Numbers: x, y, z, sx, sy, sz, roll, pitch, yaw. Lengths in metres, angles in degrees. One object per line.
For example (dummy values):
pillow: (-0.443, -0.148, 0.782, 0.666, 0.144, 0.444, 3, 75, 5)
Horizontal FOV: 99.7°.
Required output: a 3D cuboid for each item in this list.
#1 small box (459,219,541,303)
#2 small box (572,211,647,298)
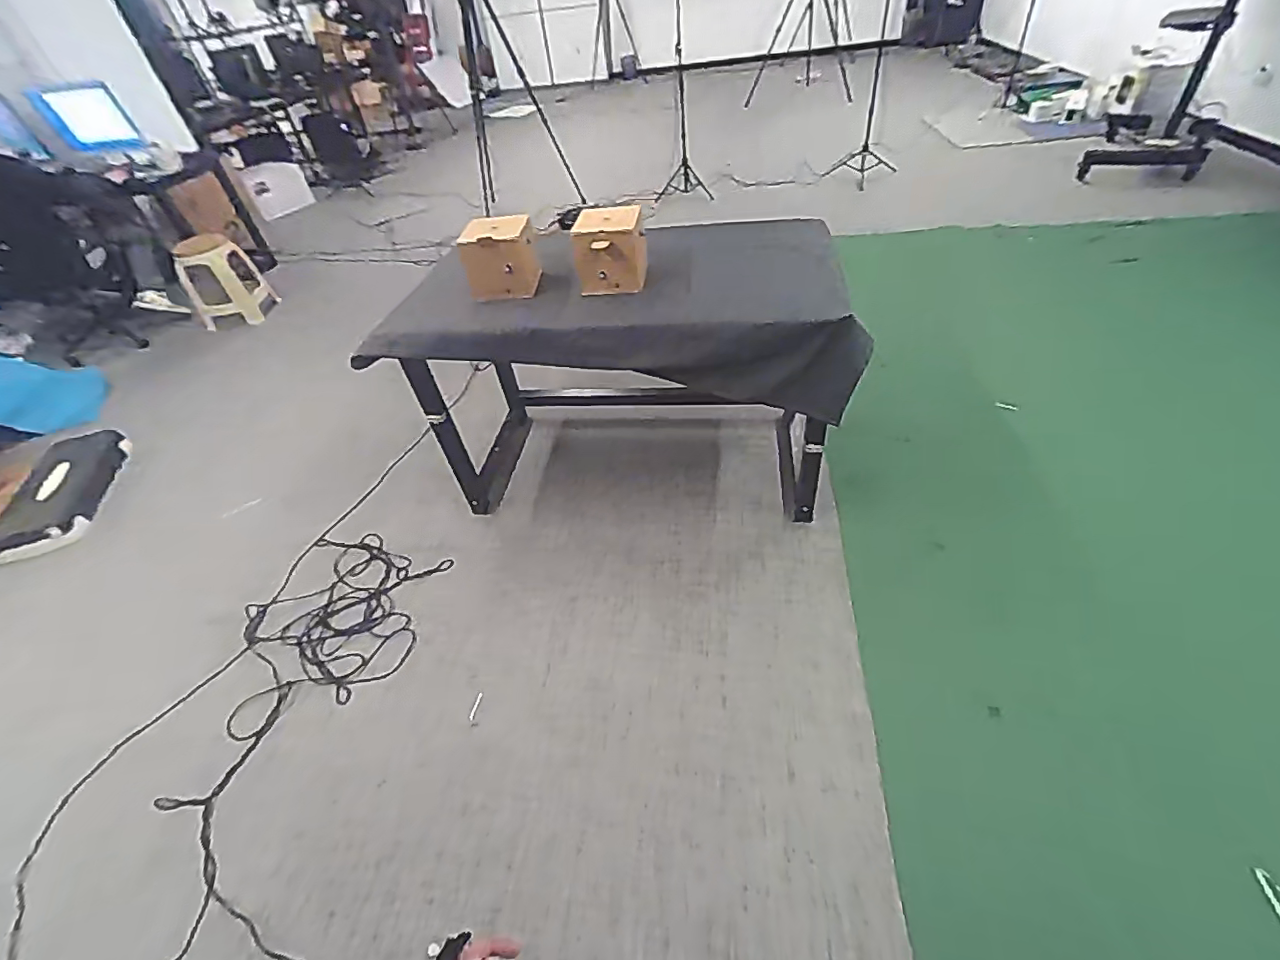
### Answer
small box: (-0.379, -0.603, 1.502, 0.168, 0.176, 0.179, -3, 42, 4)
small box: (-0.074, -0.608, 1.460, 0.168, 0.176, 0.179, 1, 44, 9)
